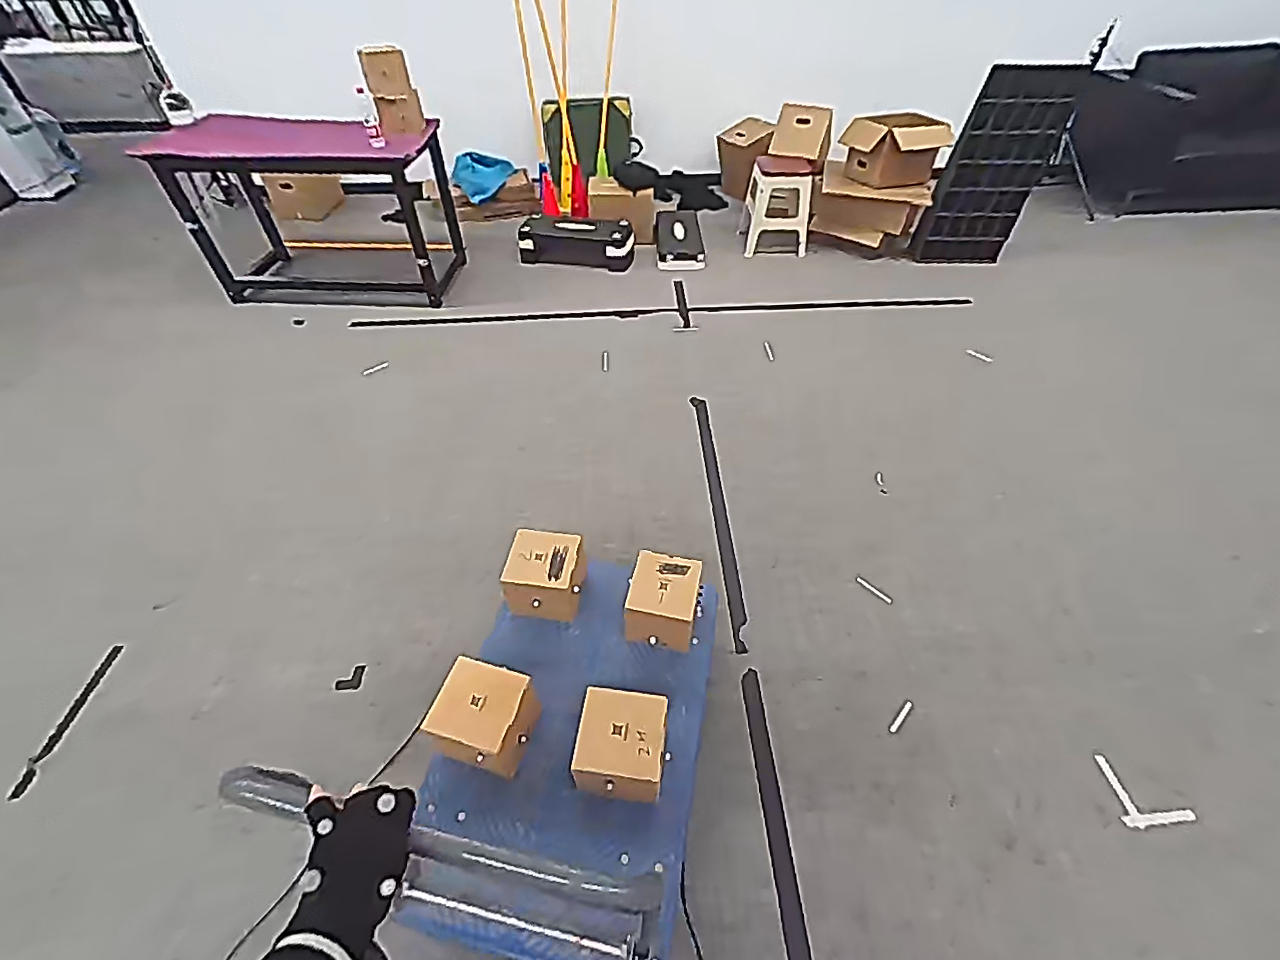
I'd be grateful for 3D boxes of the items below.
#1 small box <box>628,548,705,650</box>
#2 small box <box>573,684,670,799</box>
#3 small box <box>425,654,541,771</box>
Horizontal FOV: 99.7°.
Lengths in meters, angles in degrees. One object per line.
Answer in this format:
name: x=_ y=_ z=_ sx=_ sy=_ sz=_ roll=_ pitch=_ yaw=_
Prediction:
small box: x=0.067 y=0.307 z=1.390 sx=0.168 sy=0.176 sz=0.179 roll=10 pitch=48 yaw=9
small box: x=-0.032 y=0.559 z=1.151 sx=0.179 sy=0.176 sz=0.168 roll=6 pitch=47 yaw=6
small box: x=-0.335 y=0.516 z=1.193 sx=0.179 sy=0.176 sz=0.168 roll=13 pitch=48 yaw=10
